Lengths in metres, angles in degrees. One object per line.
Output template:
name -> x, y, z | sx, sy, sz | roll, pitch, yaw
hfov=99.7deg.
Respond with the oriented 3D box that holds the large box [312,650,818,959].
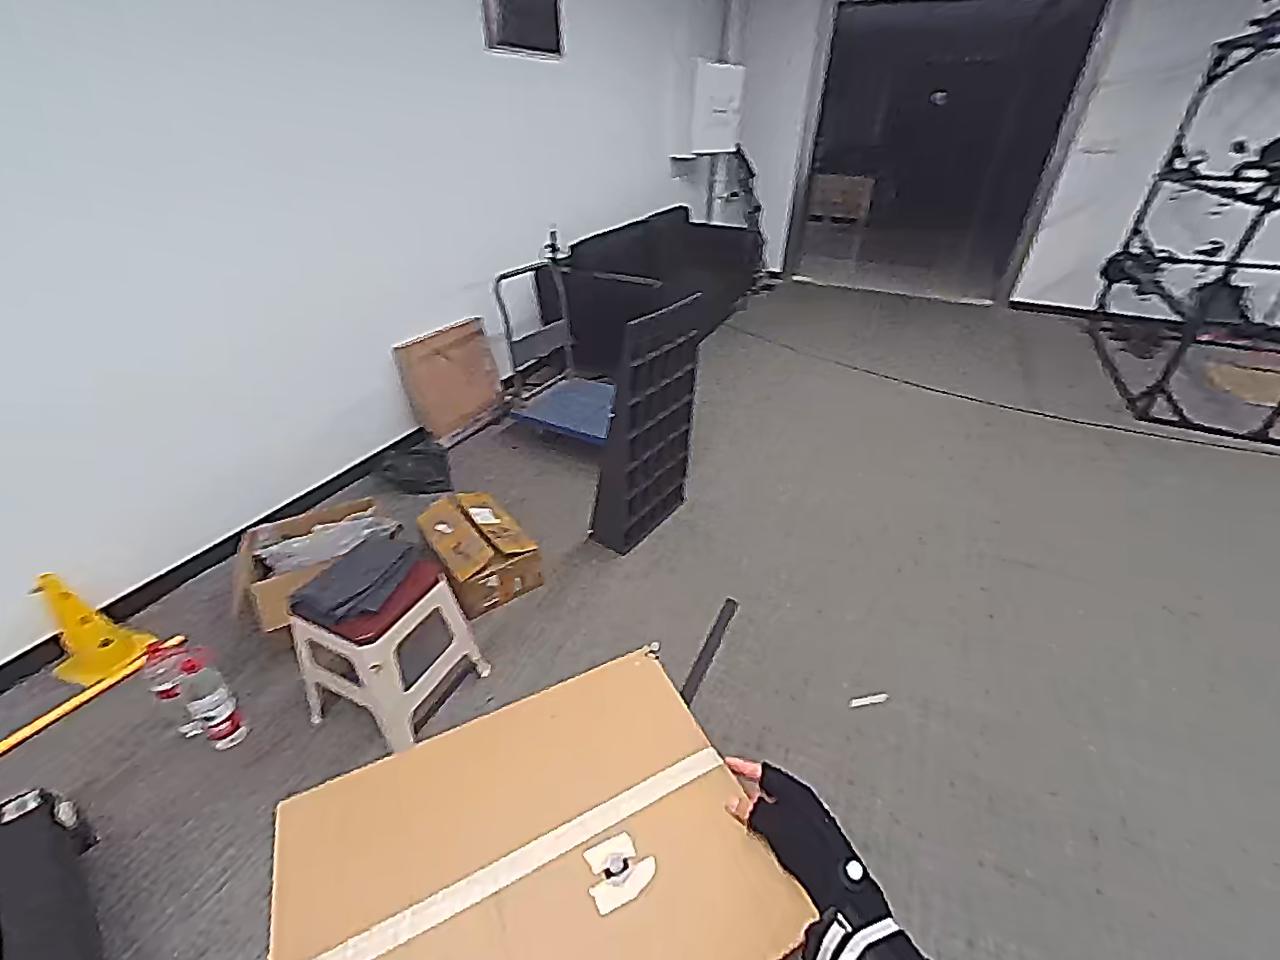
large box -> -0.087, 0.466, 0.589 | 0.408, 0.320, 0.320 | -15, 39, -21
